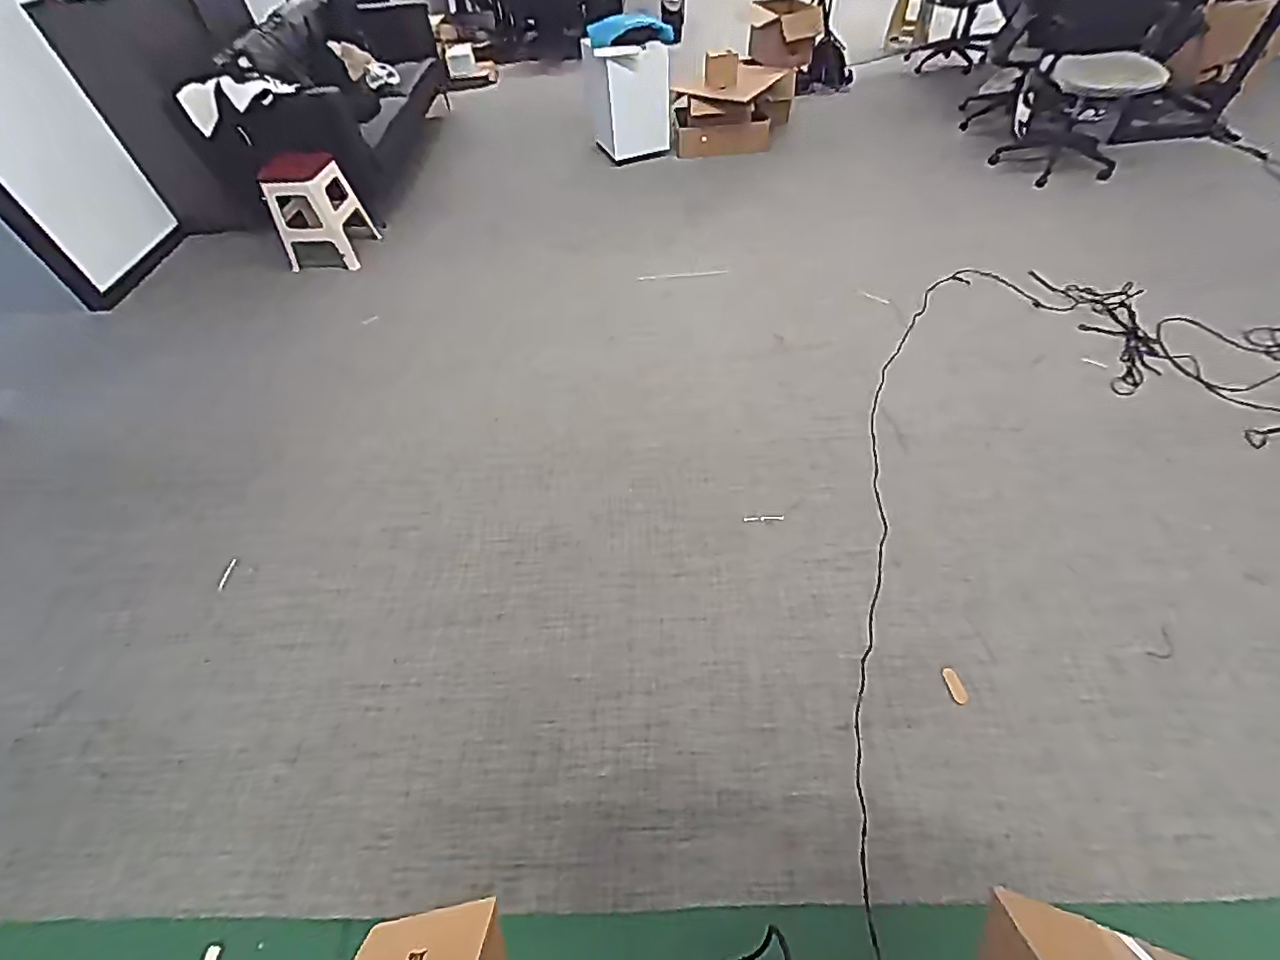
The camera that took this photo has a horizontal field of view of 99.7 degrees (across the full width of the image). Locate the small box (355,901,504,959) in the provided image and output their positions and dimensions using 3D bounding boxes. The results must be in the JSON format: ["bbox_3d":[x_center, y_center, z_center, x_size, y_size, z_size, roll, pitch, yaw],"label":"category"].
[{"bbox_3d":[-0.254,0.653,0.633,0.168,0.179,0.176,-10,86,-5],"label":"small box"}]
